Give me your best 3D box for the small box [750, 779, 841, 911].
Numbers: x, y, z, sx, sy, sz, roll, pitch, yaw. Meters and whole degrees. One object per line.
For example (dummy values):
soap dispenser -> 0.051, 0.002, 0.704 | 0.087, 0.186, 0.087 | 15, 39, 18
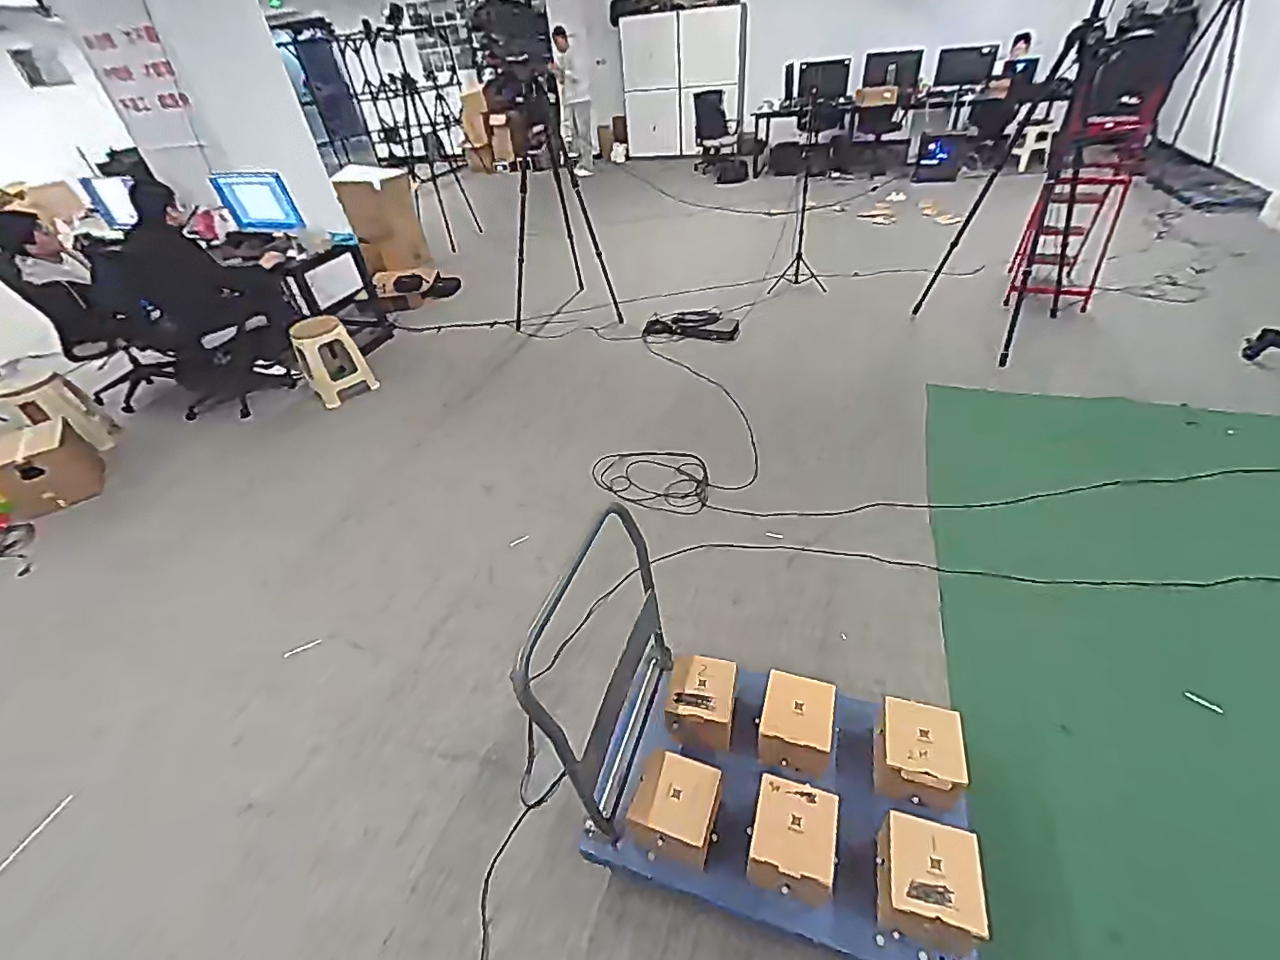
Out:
small box -> 0.340, 0.803, 1.189 | 0.168, 0.176, 0.179 | 9, 42, 18

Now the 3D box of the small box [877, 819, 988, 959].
small box -> 0.594, 0.850, 1.119 | 0.168, 0.176, 0.179 | 8, 40, 17

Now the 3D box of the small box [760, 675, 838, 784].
small box -> 0.404, 0.640, 1.387 | 0.168, 0.176, 0.179 | 9, 43, 18

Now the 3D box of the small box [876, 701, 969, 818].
small box -> 0.669, 0.671, 1.302 | 0.168, 0.176, 0.179 | 7, 41, 18

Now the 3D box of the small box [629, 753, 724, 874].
small box -> 0.090, 0.778, 1.259 | 0.179, 0.176, 0.168 | 11, 42, 19
